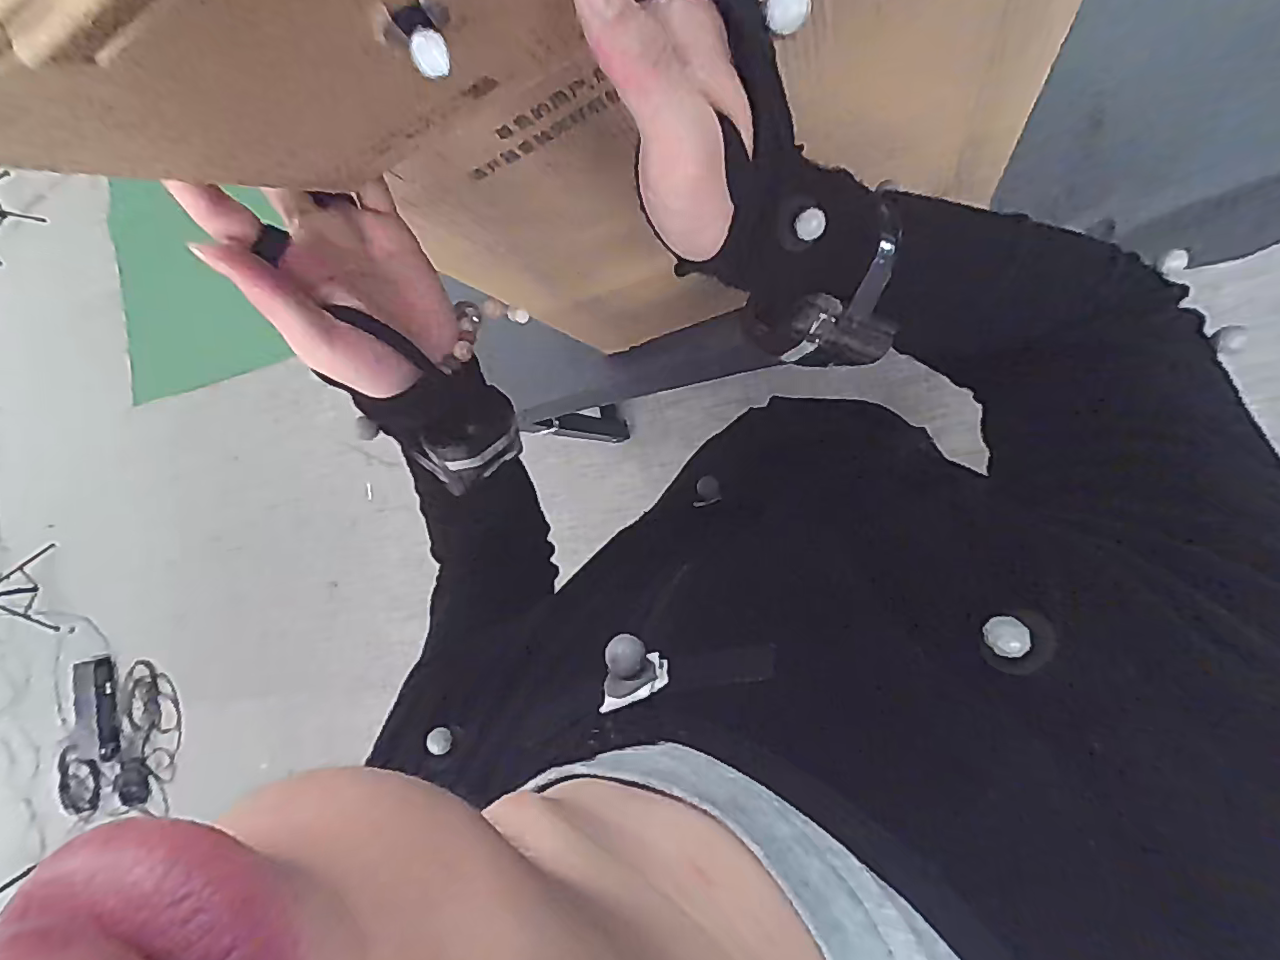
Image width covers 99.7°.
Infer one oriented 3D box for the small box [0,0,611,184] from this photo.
[{"bbox_3d":[-0.126,-0.208,0.159,0.168,0.176,0.179,-15,110,20],"label":"small box"}]
